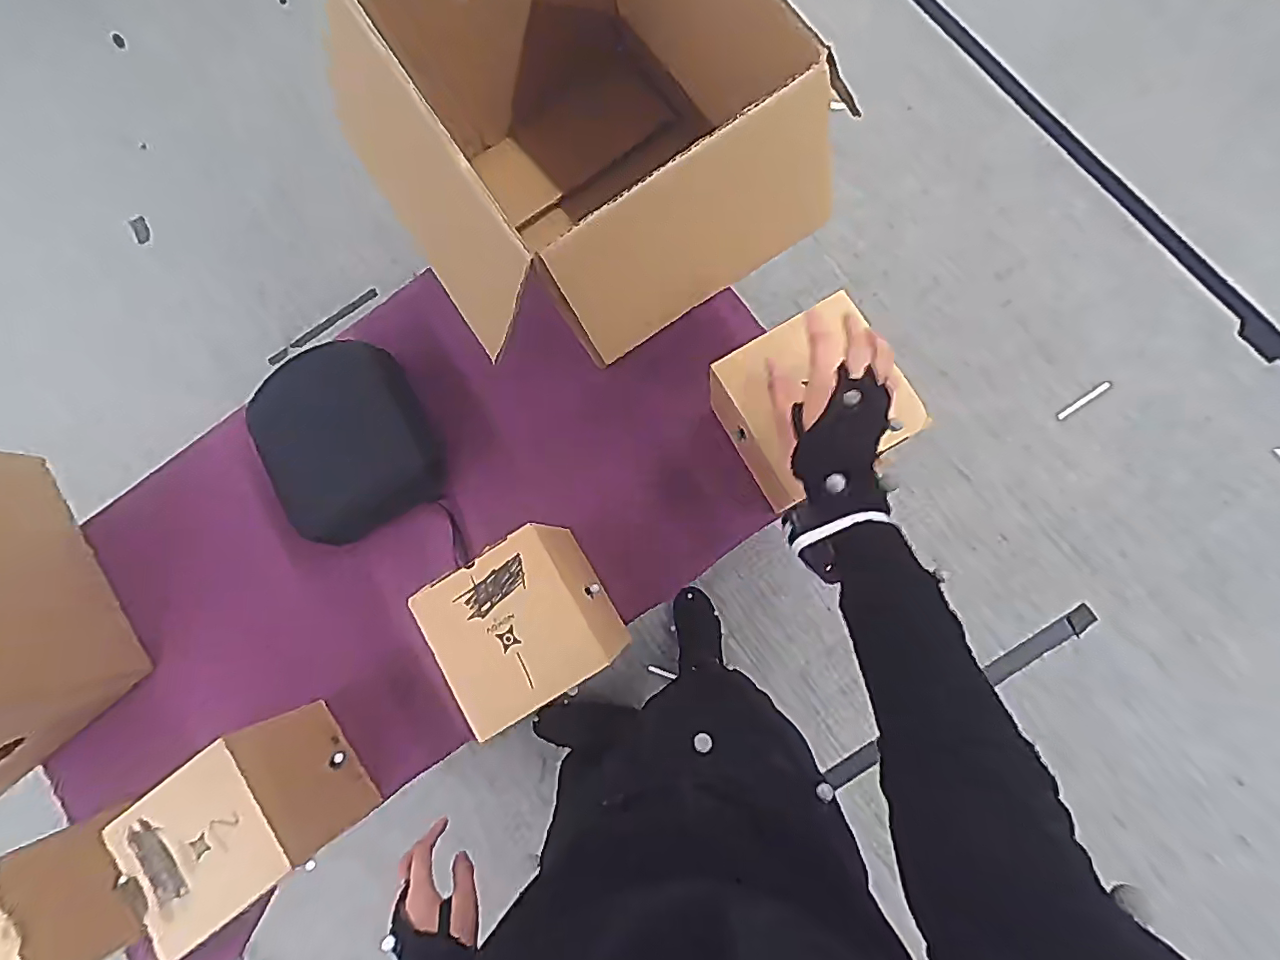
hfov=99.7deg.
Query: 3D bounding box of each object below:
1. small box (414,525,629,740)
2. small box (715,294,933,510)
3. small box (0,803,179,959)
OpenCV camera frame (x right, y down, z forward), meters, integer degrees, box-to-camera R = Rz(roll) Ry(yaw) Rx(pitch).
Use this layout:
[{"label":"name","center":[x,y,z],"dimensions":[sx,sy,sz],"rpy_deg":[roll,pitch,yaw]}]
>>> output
[{"label":"small box","center":[-0.131,0.173,0.659],"dimensions":[0.168,0.176,0.179],"rpy_deg":[-32,80,3]},{"label":"small box","center":[0.201,-0.078,0.648],"dimensions":[0.168,0.176,0.179],"rpy_deg":[-29,79,4]},{"label":"small box","center":[-0.756,0.562,0.687],"dimensions":[0.179,0.176,0.168],"rpy_deg":[-36,80,0]}]
